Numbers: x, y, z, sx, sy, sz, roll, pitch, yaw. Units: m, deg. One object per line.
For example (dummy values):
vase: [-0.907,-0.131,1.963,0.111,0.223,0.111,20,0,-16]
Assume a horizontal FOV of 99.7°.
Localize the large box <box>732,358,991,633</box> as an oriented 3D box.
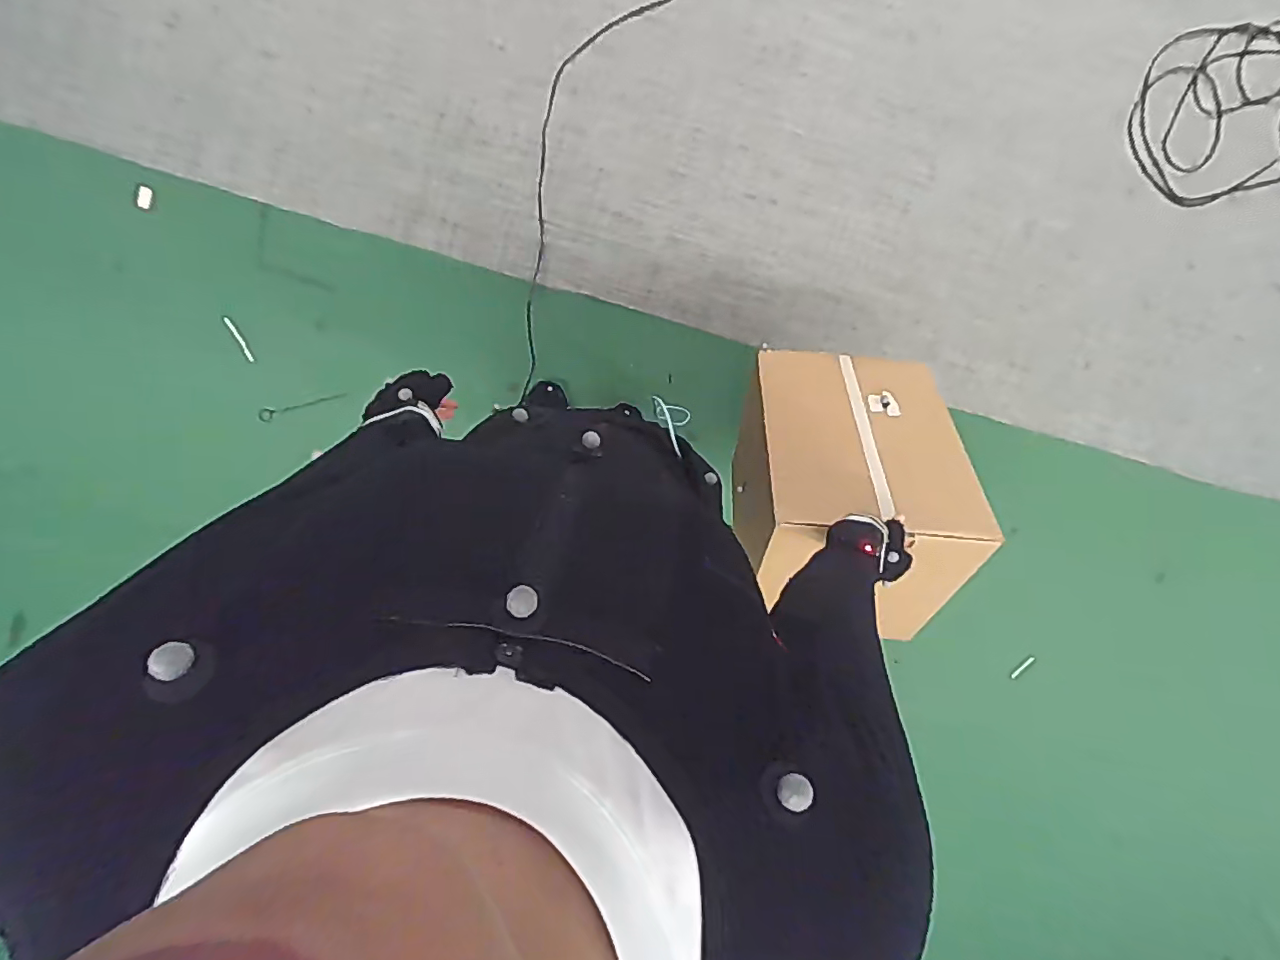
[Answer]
large box: [0.352,0.027,1.002,0.320,0.408,0.320,6,138,1]
